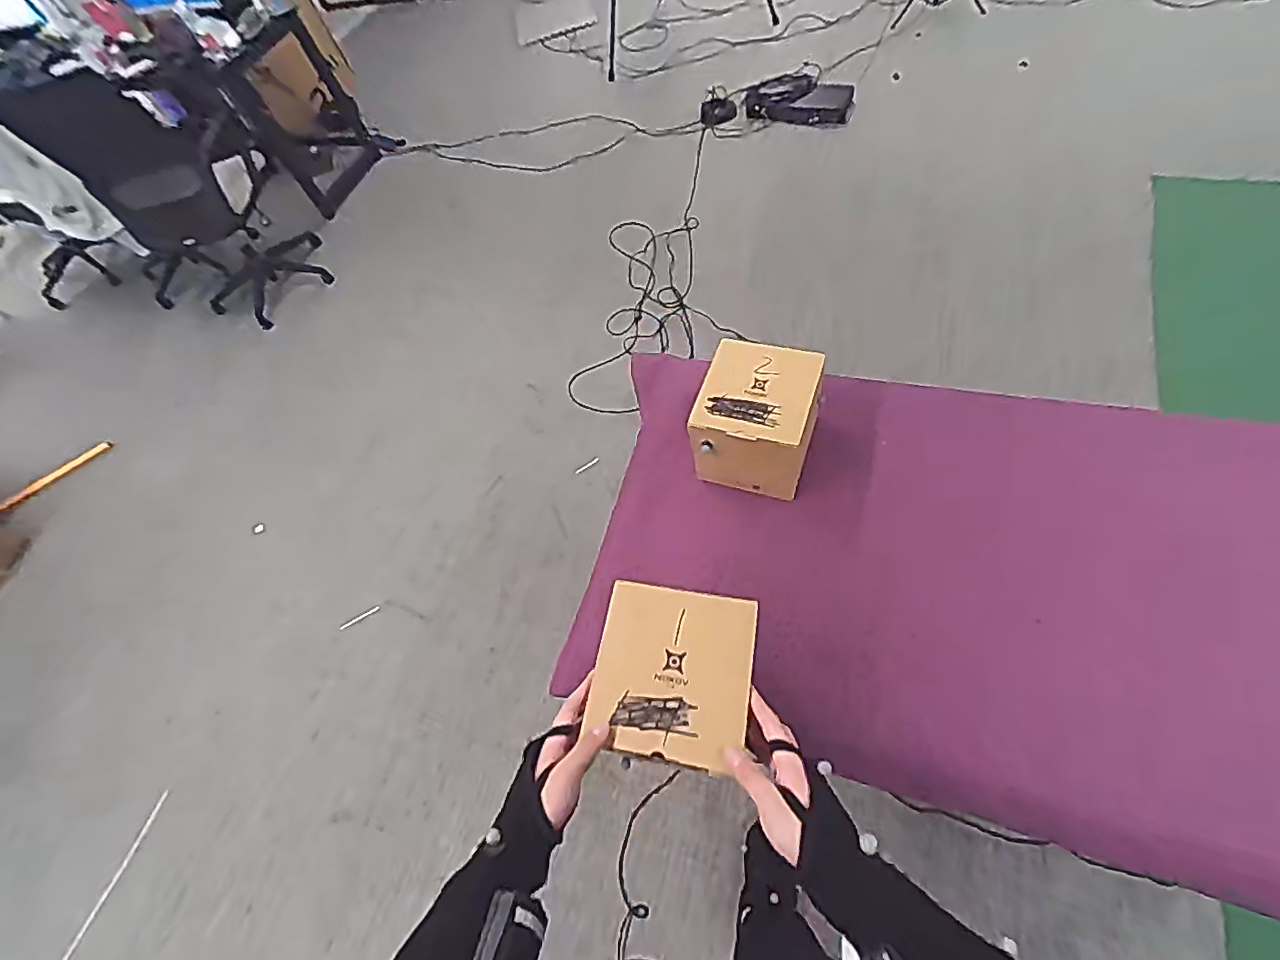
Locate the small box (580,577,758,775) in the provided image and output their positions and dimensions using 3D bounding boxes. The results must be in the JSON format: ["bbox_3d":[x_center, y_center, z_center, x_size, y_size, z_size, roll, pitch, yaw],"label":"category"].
[{"bbox_3d":[0.044,0.235,0.637,0.168,0.176,0.179,7,61,12],"label":"small box"}]
